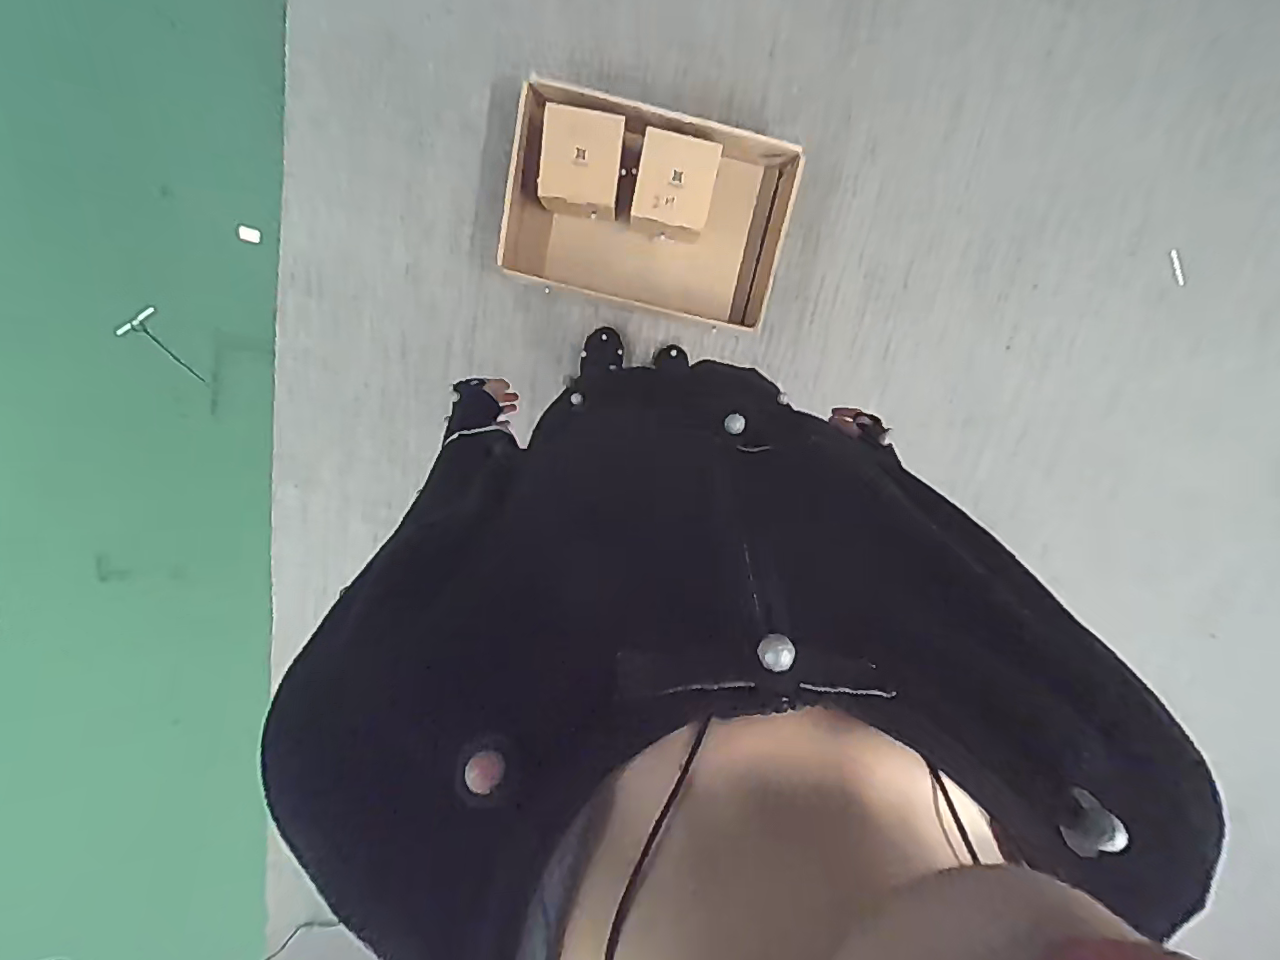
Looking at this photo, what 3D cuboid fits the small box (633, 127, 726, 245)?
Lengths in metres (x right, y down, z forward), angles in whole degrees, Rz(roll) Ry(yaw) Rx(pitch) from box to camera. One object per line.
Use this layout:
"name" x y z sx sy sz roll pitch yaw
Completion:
"small box" 0.081 -0.649 1.217 0.168 0.176 0.179 12 105 -3
